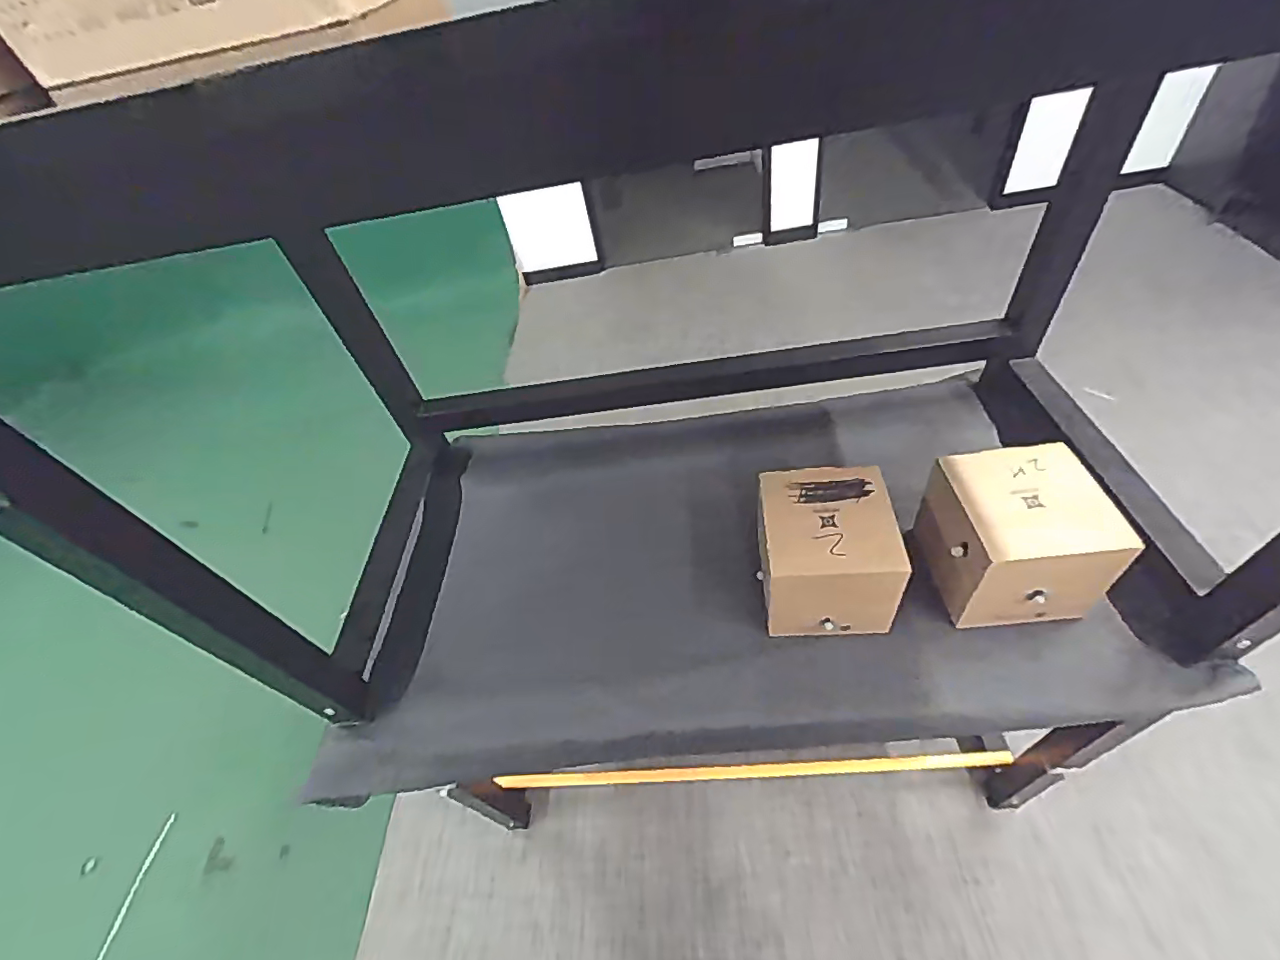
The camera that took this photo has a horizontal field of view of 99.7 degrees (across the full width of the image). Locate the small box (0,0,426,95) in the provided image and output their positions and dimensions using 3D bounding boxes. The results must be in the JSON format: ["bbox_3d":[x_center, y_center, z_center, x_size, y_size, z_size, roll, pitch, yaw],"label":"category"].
[{"bbox_3d":[-0.226,-0.312,0.261,0.168,0.176,0.179,-7,47,7],"label":"small box"}]

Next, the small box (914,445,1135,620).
[{"bbox_3d":[0.500,0.079,0.738,0.168,0.176,0.179,-7,47,6],"label":"small box"}]
